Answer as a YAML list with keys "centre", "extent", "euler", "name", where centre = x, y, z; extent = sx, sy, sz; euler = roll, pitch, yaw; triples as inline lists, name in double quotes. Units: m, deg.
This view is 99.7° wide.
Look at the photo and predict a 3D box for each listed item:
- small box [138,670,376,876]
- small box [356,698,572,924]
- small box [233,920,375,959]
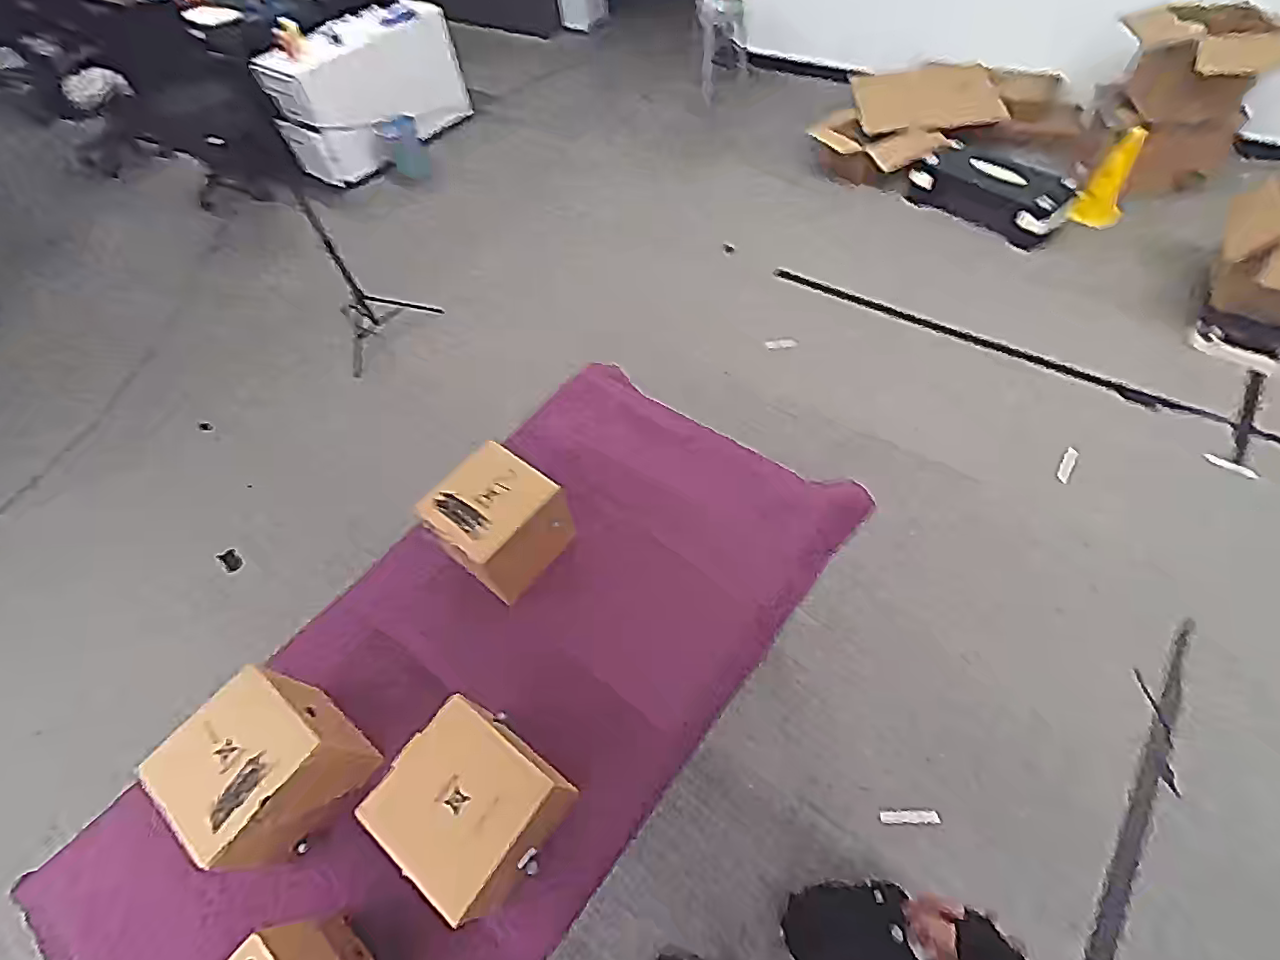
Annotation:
- centre: [-0.507, 0.397, 0.743]
  extent: [0.179, 0.176, 0.168]
  euler: [29, 63, 23]
  name: "small box"
- centre: [-0.212, 0.419, 0.698]
  extent: [0.179, 0.176, 0.168]
  euler: [30, 65, 21]
  name: "small box"
- centre: [-0.388, 0.623, 0.576]
  extent: [0.168, 0.176, 0.179]
  euler: [31, 65, 23]
  name: "small box"
